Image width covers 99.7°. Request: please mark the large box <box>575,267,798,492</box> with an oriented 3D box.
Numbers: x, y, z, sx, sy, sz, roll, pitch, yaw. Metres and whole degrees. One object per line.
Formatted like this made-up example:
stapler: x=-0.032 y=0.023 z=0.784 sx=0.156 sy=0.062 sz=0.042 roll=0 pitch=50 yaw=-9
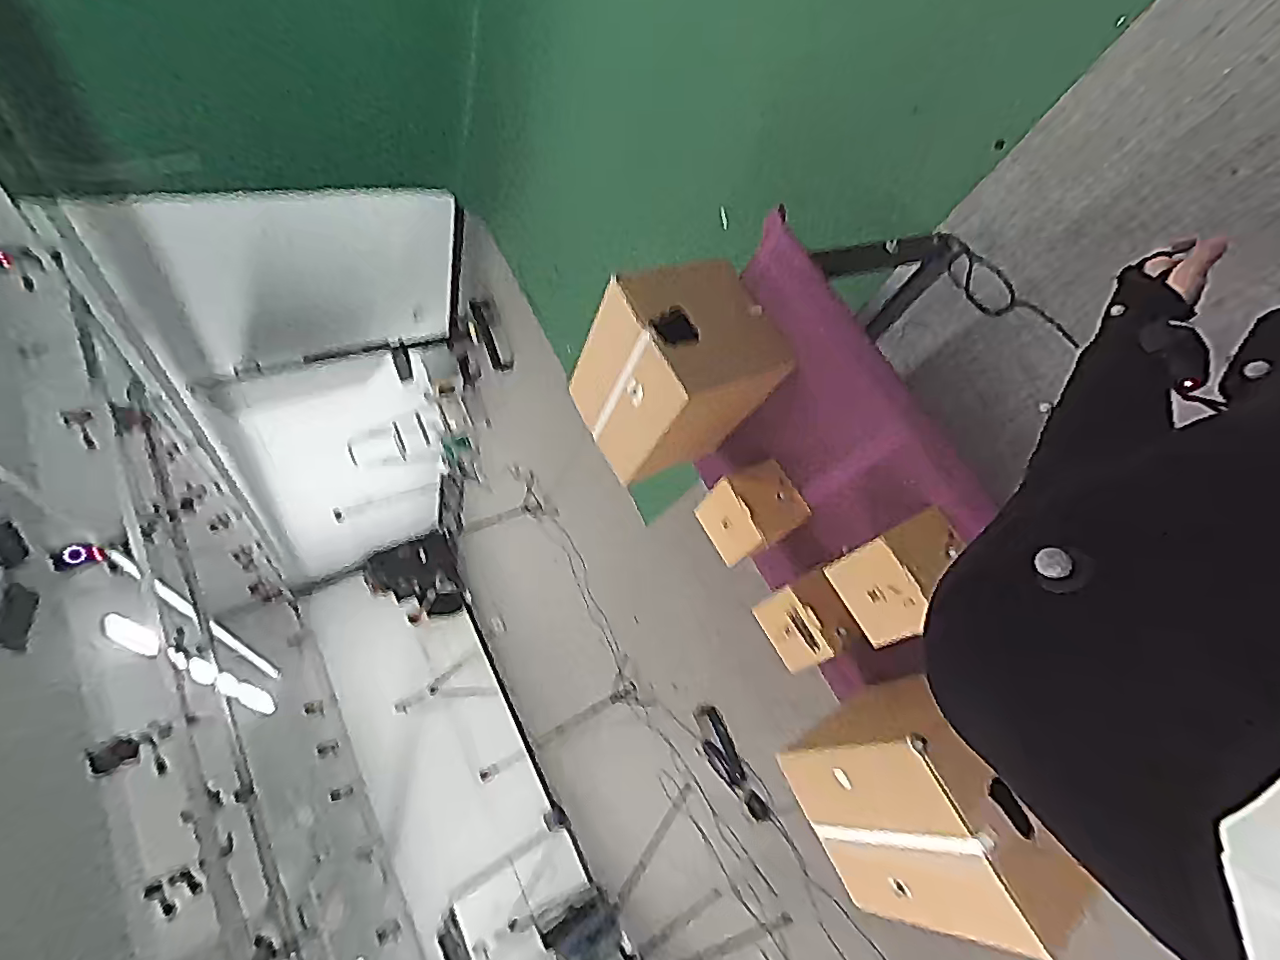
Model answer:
large box: x=0.087 y=-0.231 z=1.282 sx=0.320 sy=0.320 sz=0.408 roll=59 pitch=148 yaw=15
